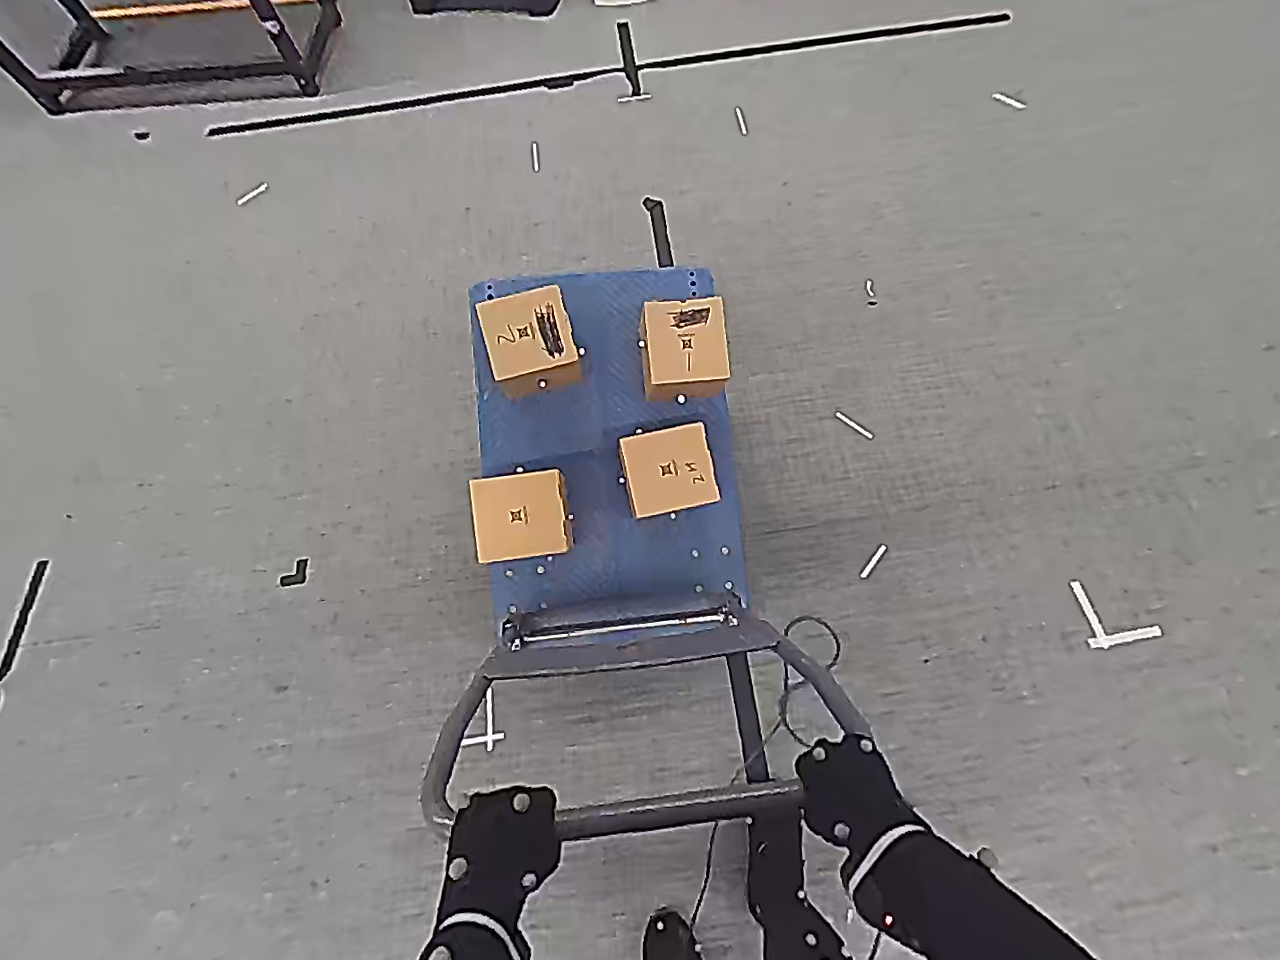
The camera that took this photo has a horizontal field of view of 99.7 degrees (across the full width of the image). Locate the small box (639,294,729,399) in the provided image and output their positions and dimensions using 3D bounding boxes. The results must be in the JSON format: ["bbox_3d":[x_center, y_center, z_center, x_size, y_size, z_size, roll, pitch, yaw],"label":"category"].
[{"bbox_3d":[0.089,-0.286,1.184,0.168,0.176,0.179,-6,87,-3],"label":"small box"}]

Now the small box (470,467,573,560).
[{"bbox_3d":[-0.243,0.073,1.138,0.179,0.176,0.168,-8,86,-5],"label":"small box"}]

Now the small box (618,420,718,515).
[{"bbox_3d":[0.054,-0.020,1.161,0.179,0.176,0.168,-12,87,-4],"label":"small box"}]
